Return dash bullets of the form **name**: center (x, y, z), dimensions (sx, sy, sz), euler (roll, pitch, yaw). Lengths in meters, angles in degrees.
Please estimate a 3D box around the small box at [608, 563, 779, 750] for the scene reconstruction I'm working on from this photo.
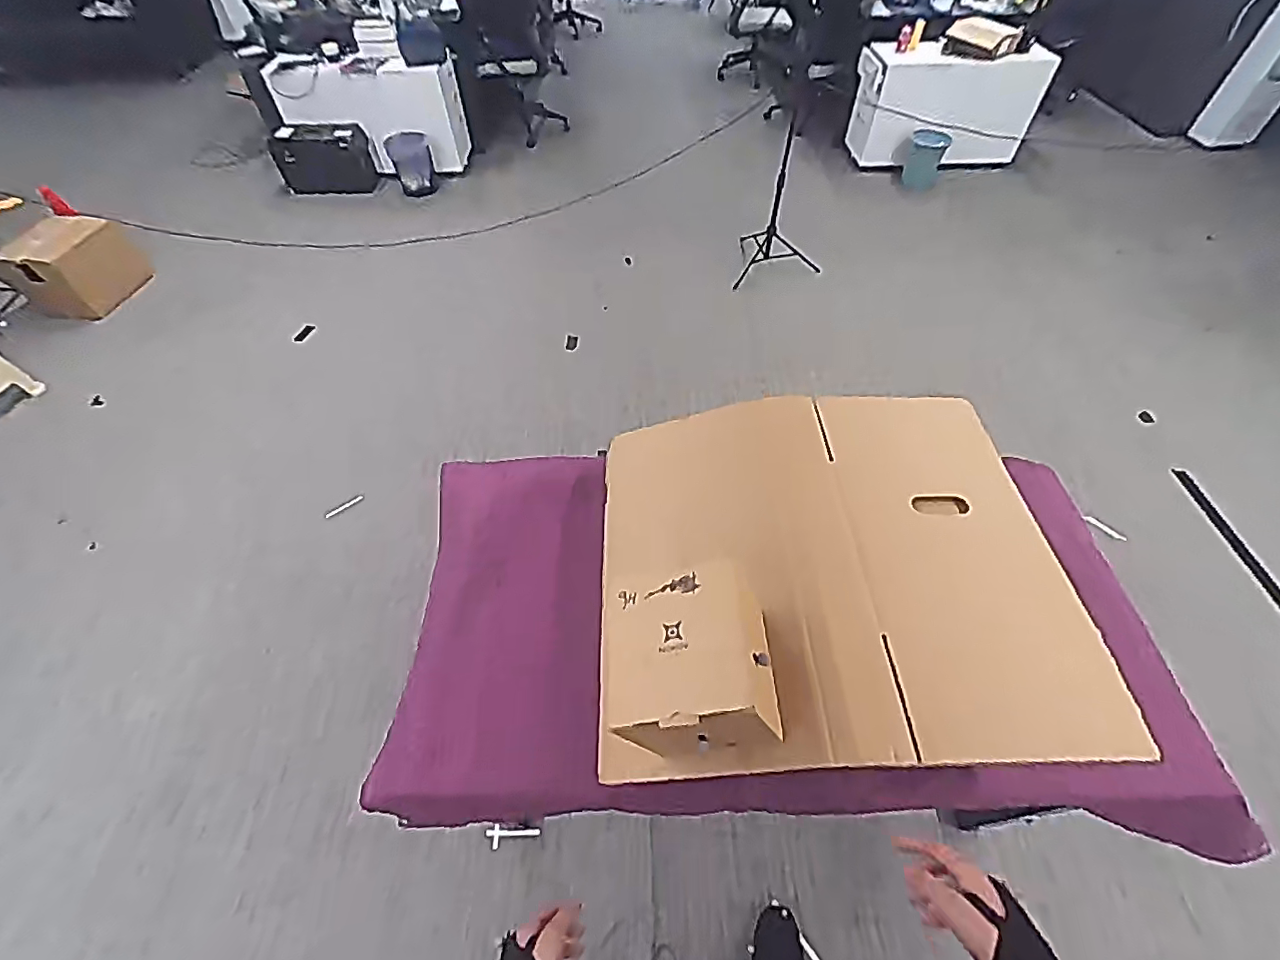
- **small box**: center (0.068, 0.231, 0.679), dimensions (0.168, 0.176, 0.179), euler (-15, 52, 16)
